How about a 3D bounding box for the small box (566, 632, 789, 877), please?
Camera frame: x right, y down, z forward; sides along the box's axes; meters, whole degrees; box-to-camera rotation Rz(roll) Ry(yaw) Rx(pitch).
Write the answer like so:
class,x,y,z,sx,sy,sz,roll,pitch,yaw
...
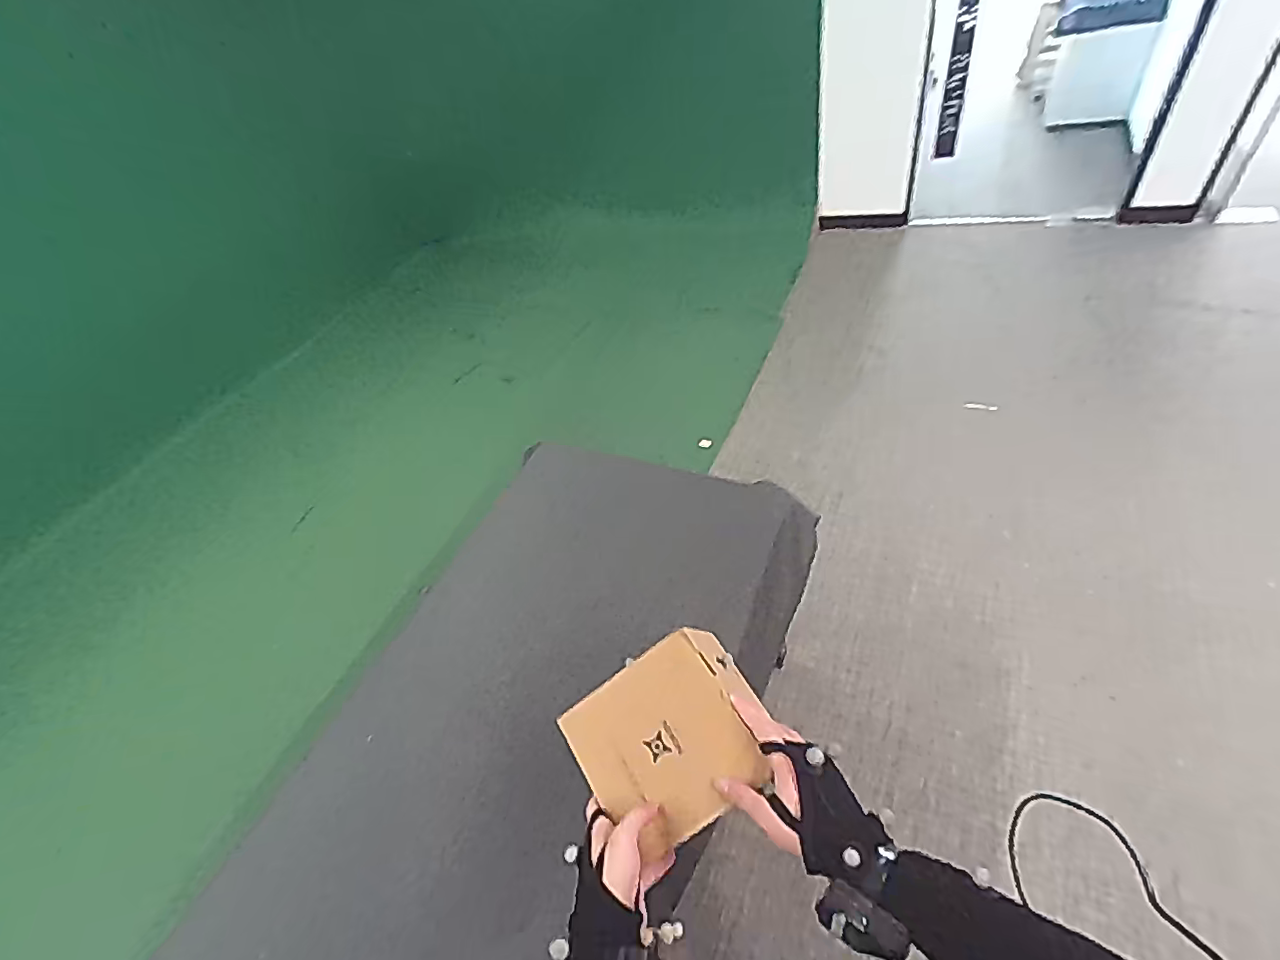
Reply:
class,x,y,z,sx,sy,sz,roll,pitch,yaw
small box,0.052,0.294,0.610,0.179,0.176,0.168,-35,61,4
